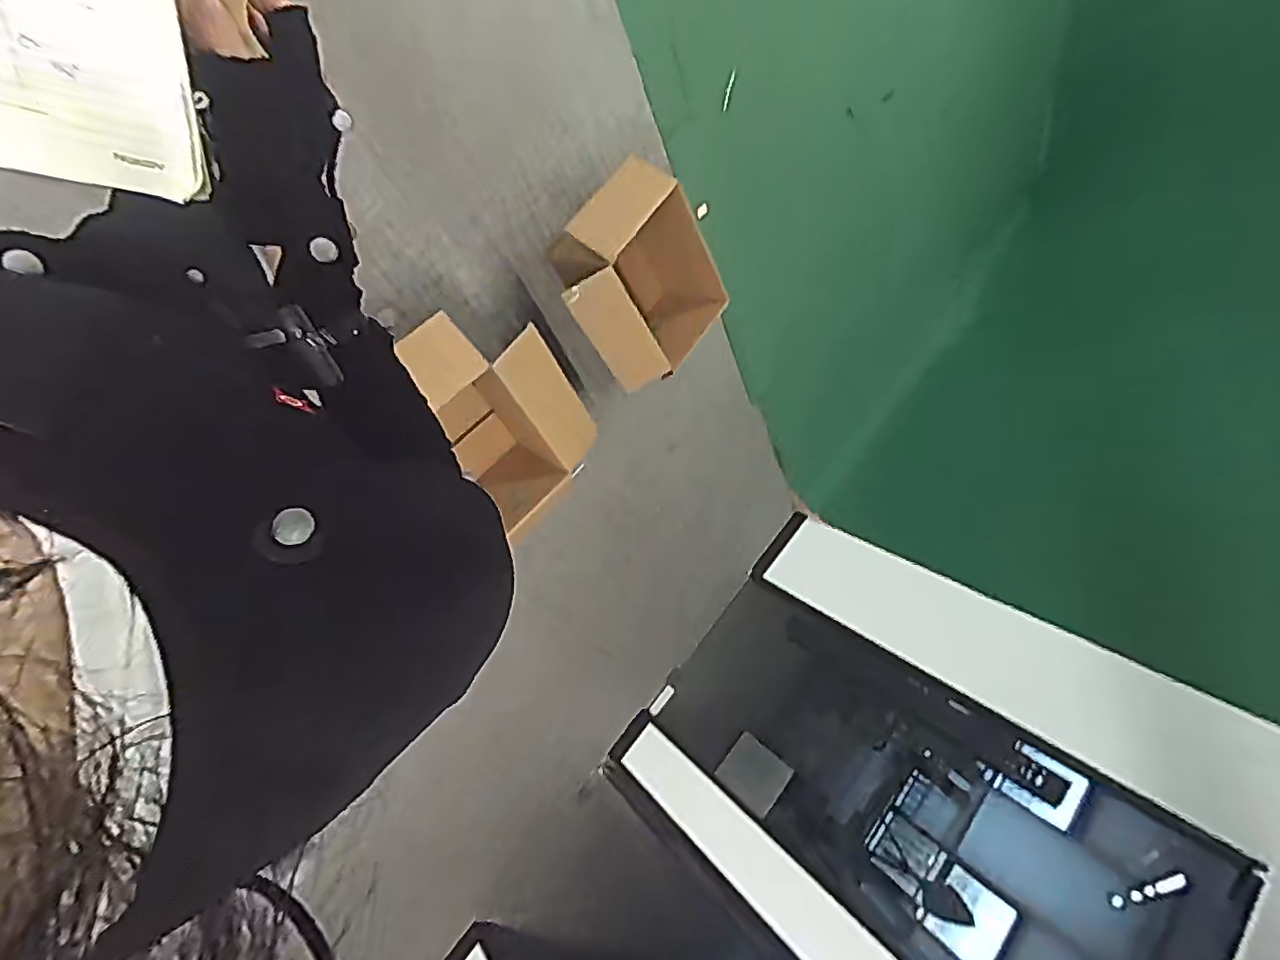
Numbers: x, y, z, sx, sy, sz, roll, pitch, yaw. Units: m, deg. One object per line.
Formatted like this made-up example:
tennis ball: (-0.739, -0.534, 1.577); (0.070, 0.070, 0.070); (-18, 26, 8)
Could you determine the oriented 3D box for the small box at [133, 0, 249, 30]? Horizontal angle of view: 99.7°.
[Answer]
small box: (-0.299, -0.348, 0.253); (0.179, 0.176, 0.168); (-4, 124, -38)
